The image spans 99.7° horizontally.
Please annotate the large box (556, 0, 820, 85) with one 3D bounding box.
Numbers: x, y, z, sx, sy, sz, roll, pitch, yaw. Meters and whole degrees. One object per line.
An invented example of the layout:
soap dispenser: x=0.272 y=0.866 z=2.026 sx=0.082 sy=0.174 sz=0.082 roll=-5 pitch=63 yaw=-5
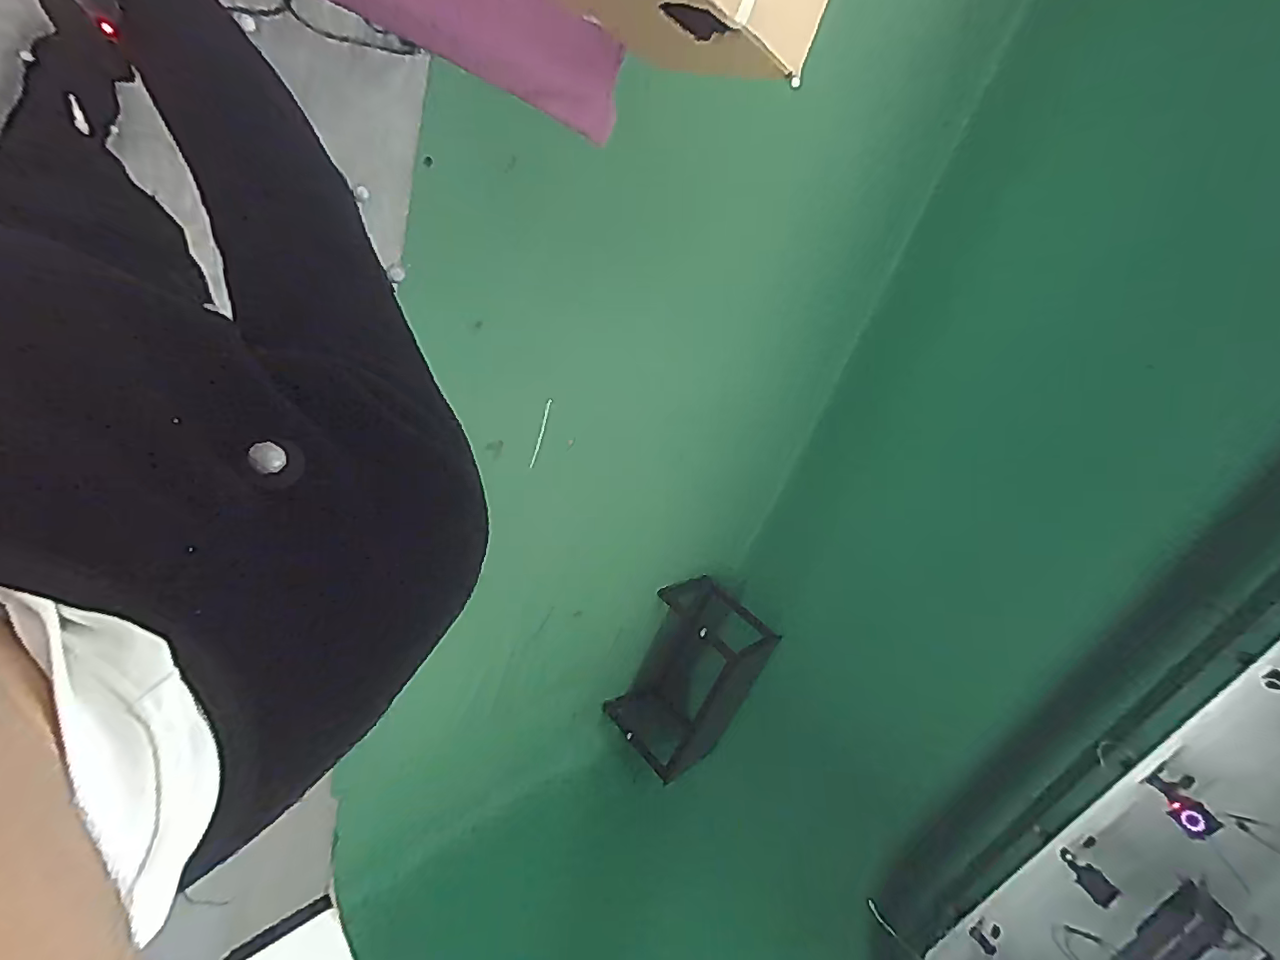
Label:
large box: x=0.072 y=-0.792 z=0.658 sx=0.320 sy=0.320 sz=0.408 roll=-6 pitch=126 yaw=-46
